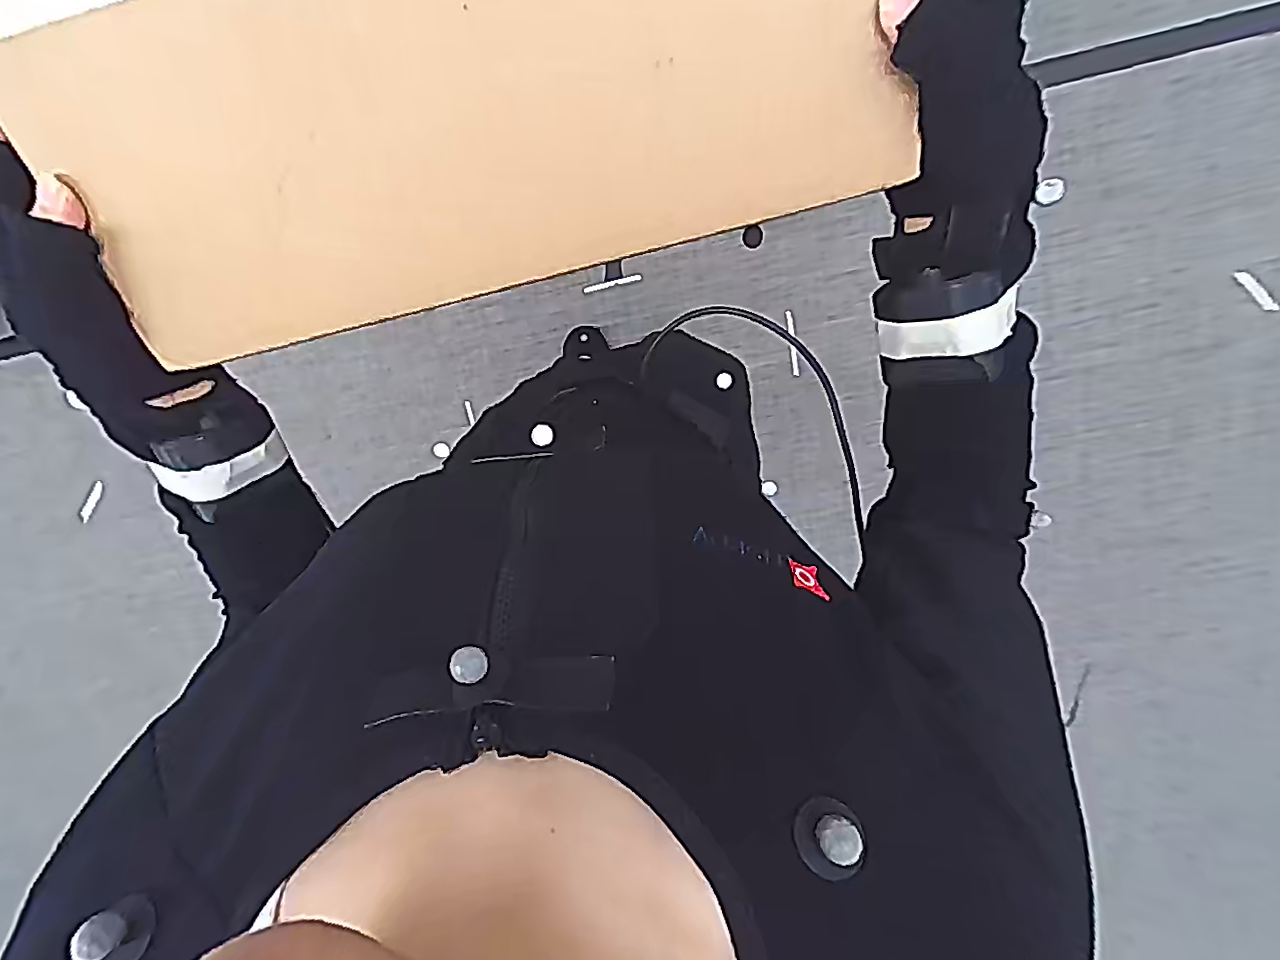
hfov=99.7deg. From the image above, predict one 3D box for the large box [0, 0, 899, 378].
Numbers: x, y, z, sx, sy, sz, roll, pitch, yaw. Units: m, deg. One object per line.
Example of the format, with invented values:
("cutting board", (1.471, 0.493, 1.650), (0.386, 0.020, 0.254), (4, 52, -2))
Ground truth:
("large box", (-0.099, -0.302, 0.355), (0.408, 0.320, 0.320), (-12, 116, 6))
